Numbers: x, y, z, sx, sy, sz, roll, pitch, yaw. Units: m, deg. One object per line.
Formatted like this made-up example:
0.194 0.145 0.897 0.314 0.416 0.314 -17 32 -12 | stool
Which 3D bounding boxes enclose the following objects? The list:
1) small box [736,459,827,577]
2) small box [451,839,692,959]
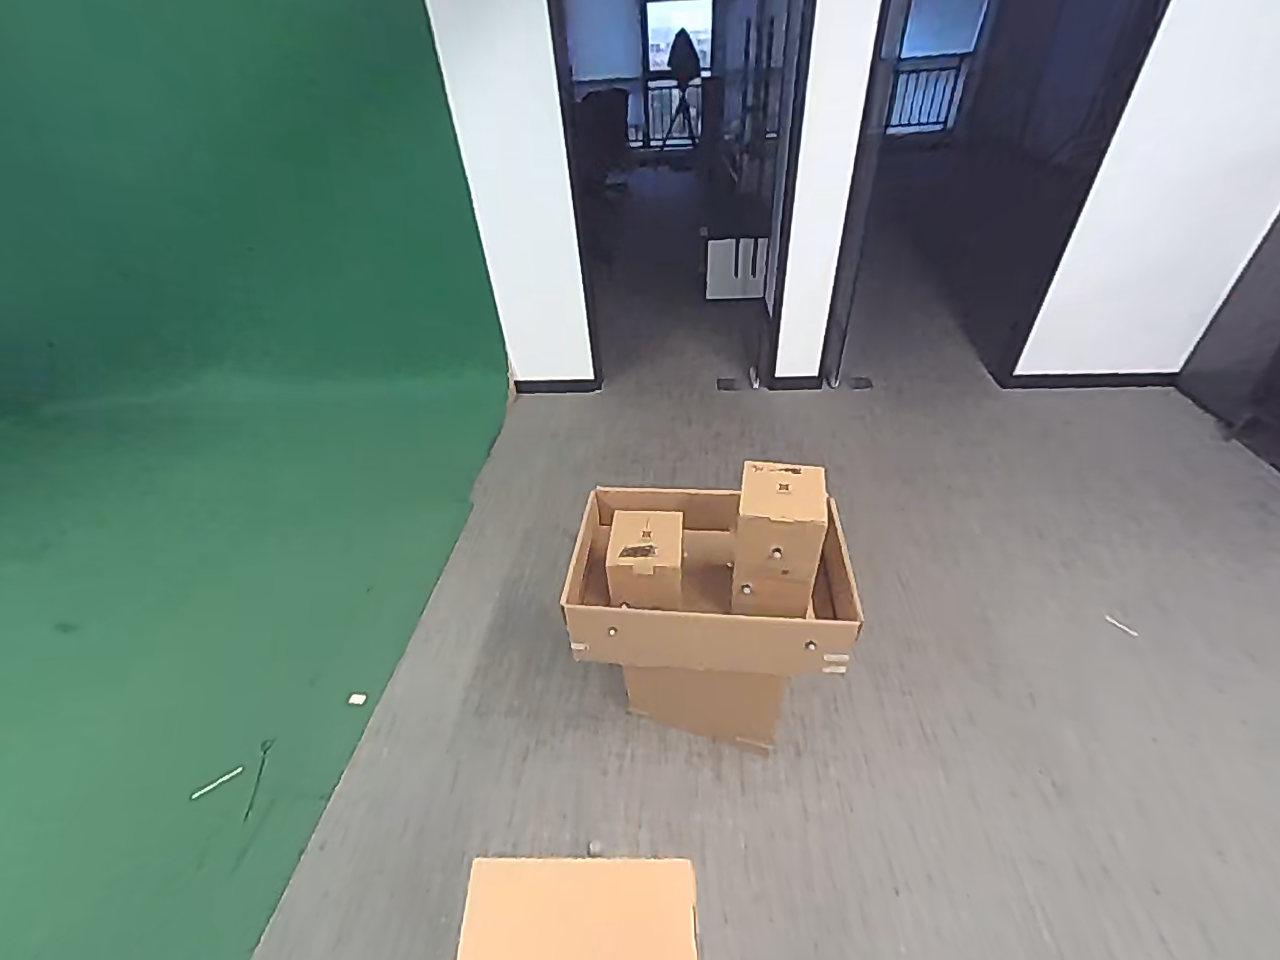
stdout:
0.292 0.080 1.126 0.168 0.176 0.179 5 41 12 | small box
-0.051 0.404 0.441 0.179 0.176 0.168 1 49 -2 | small box
